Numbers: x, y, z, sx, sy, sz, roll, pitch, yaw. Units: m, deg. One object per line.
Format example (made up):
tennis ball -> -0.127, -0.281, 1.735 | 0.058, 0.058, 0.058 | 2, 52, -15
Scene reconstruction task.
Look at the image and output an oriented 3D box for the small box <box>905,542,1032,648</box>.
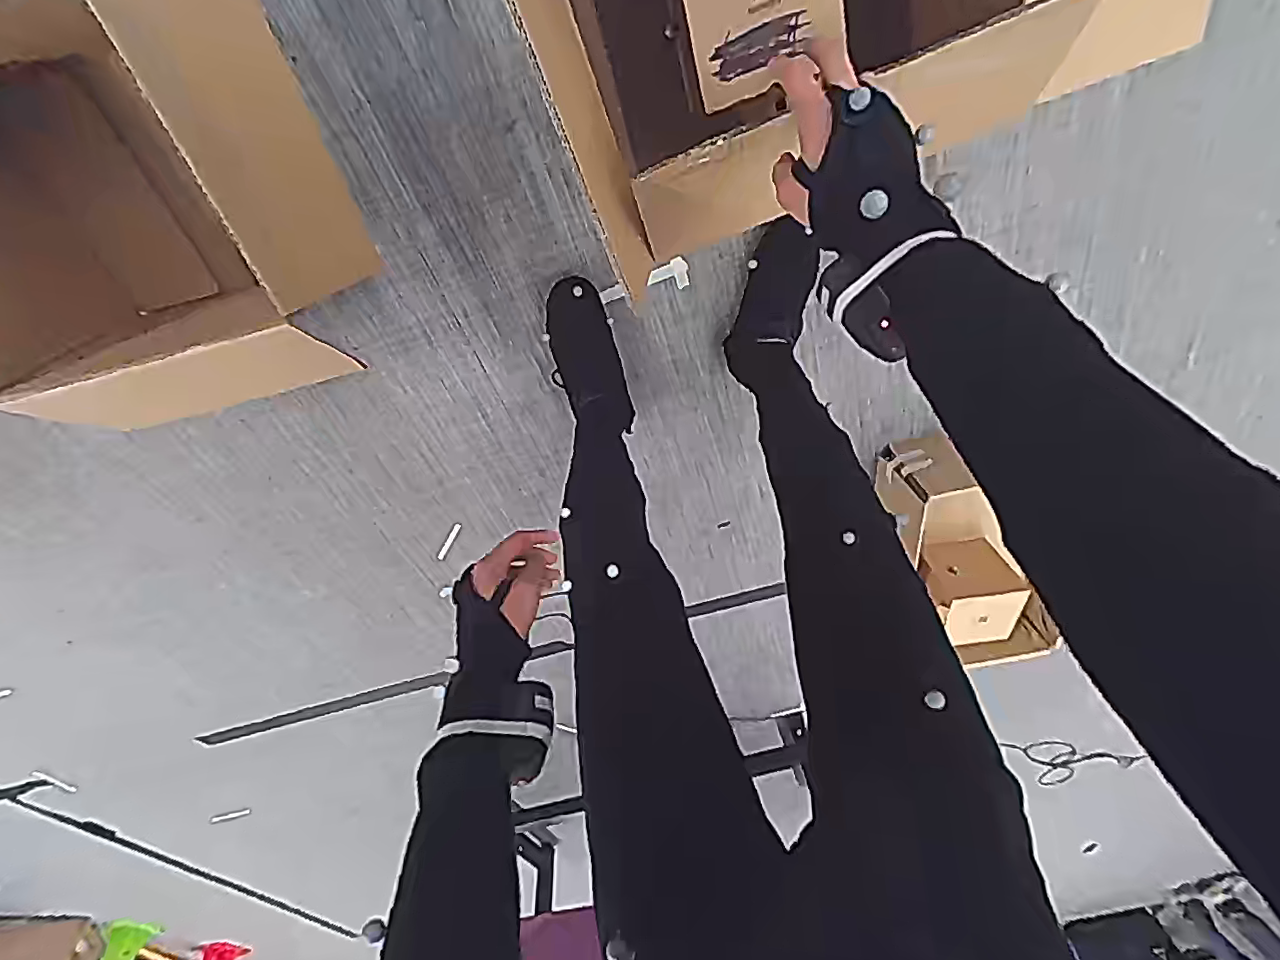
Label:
small box -> 0.745, 0.262, 1.252 | 0.179, 0.176, 0.168 | -6, 126, -1
